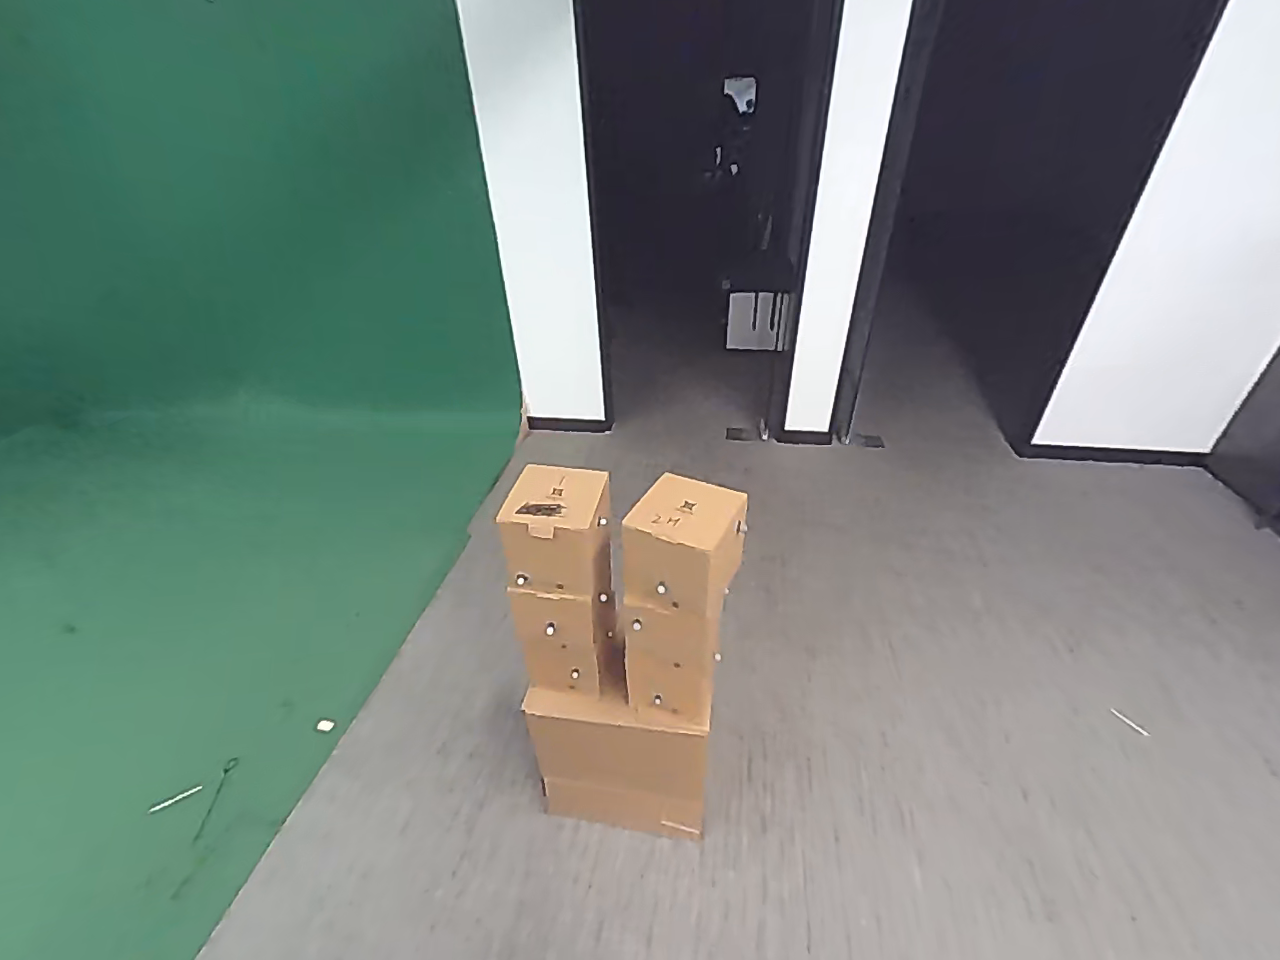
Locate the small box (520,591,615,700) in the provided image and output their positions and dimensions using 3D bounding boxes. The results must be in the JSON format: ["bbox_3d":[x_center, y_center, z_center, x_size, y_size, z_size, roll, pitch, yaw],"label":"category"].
[{"bbox_3d":[-0.153,0.367,1.219,0.168,0.176,0.179,7,36,9],"label":"small box"}]

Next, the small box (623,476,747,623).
[{"bbox_3d":[0.081,0.122,0.979,0.168,0.176,0.179,15,38,24],"label":"small box"}]

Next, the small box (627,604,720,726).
[{"bbox_3d":[0.075,0.393,1.168,0.168,0.176,0.179,7,36,15],"label":"small box"}]

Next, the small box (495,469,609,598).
[{"bbox_3d":[-0.155,0.101,1.026,0.168,0.176,0.179,6,35,7],"label":"small box"}]
